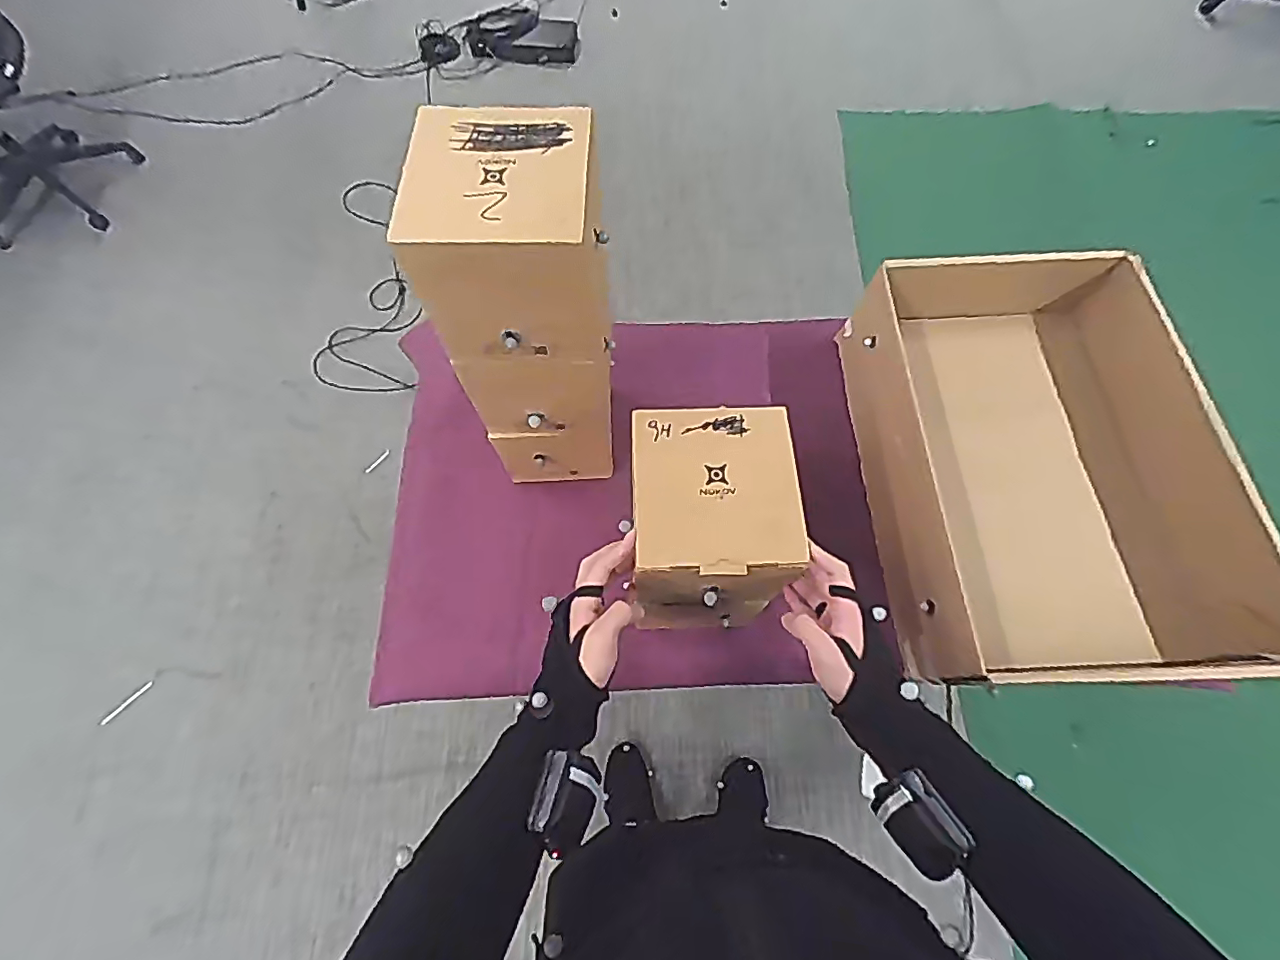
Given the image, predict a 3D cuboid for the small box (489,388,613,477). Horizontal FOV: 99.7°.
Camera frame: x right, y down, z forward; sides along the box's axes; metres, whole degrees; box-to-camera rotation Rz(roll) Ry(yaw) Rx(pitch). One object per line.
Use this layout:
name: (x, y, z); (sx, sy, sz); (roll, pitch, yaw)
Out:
small box: (-0.131, -0.111, 0.856); (0.168, 0.176, 0.179); (-3, 66, 0)

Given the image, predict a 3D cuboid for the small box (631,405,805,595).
small box: (0.075, 0.032, 0.613); (0.168, 0.176, 0.179); (-1, 67, -1)

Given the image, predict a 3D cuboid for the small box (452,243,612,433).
small box: (-0.126, -0.179, 0.706); (0.168, 0.176, 0.179); (1, 67, 1)

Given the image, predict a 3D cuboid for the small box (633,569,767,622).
small box: (0.075, 0.101, 0.761); (0.168, 0.176, 0.179); (-1, 65, 0)
